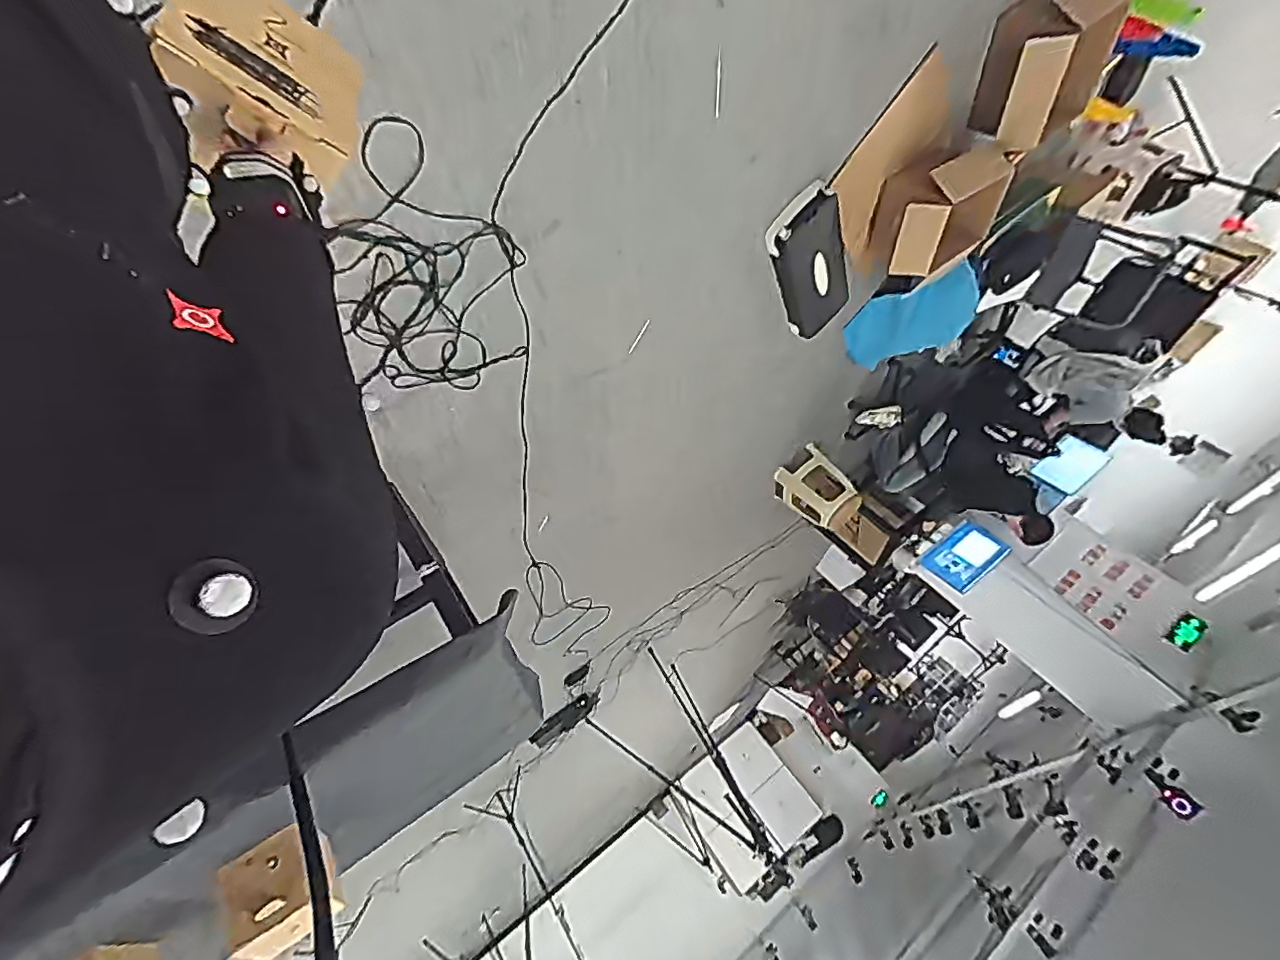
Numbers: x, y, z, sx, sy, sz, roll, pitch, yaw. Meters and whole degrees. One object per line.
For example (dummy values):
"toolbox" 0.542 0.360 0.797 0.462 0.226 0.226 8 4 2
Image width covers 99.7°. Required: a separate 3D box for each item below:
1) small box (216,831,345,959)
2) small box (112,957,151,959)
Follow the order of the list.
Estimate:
"small box" -0.755 0.884 1.142 0.168 0.176 0.179 -25 144 -28
"small box" -1.025 1.017 0.981 0.168 0.176 0.179 -30 147 -22
